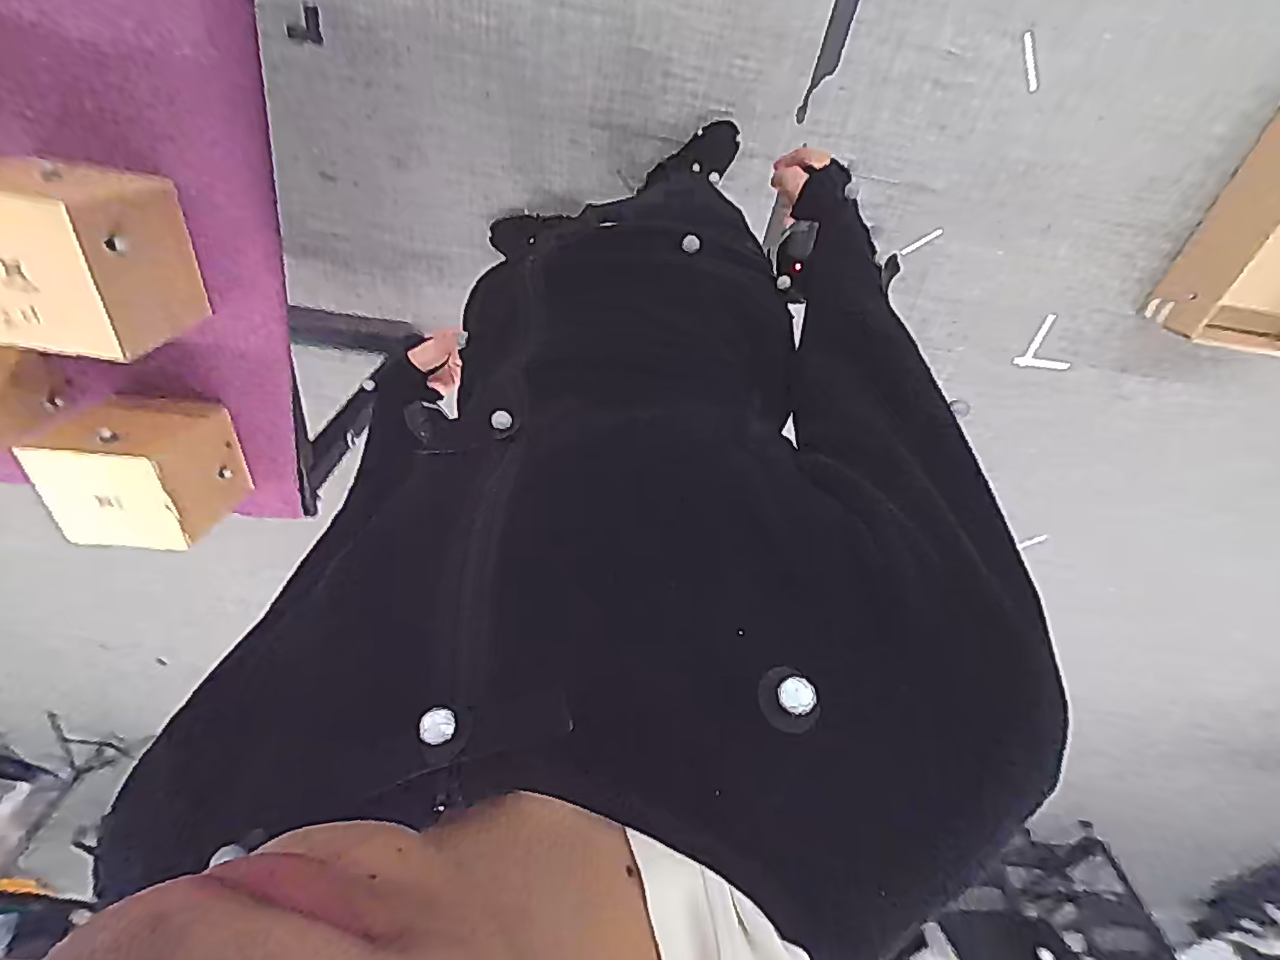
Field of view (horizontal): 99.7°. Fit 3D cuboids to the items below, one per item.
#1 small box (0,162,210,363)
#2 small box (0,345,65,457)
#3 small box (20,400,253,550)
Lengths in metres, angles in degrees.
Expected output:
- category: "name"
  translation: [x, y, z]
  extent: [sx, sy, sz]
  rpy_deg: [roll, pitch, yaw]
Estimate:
- category: "small box"
  translation: [-0.676, -0.267, 0.653]
  extent: [0.168, 0.176, 0.179]
  rpy_deg: [8, 126, -6]
- category: "small box"
  translation: [-0.957, -0.145, 0.739]
  extent: [0.179, 0.176, 0.168]
  rpy_deg: [13, 124, -10]
- category: "small box"
  translation: [-0.753, -0.013, 0.836]
  extent: [0.179, 0.176, 0.168]
  rpy_deg: [4, 124, -4]
